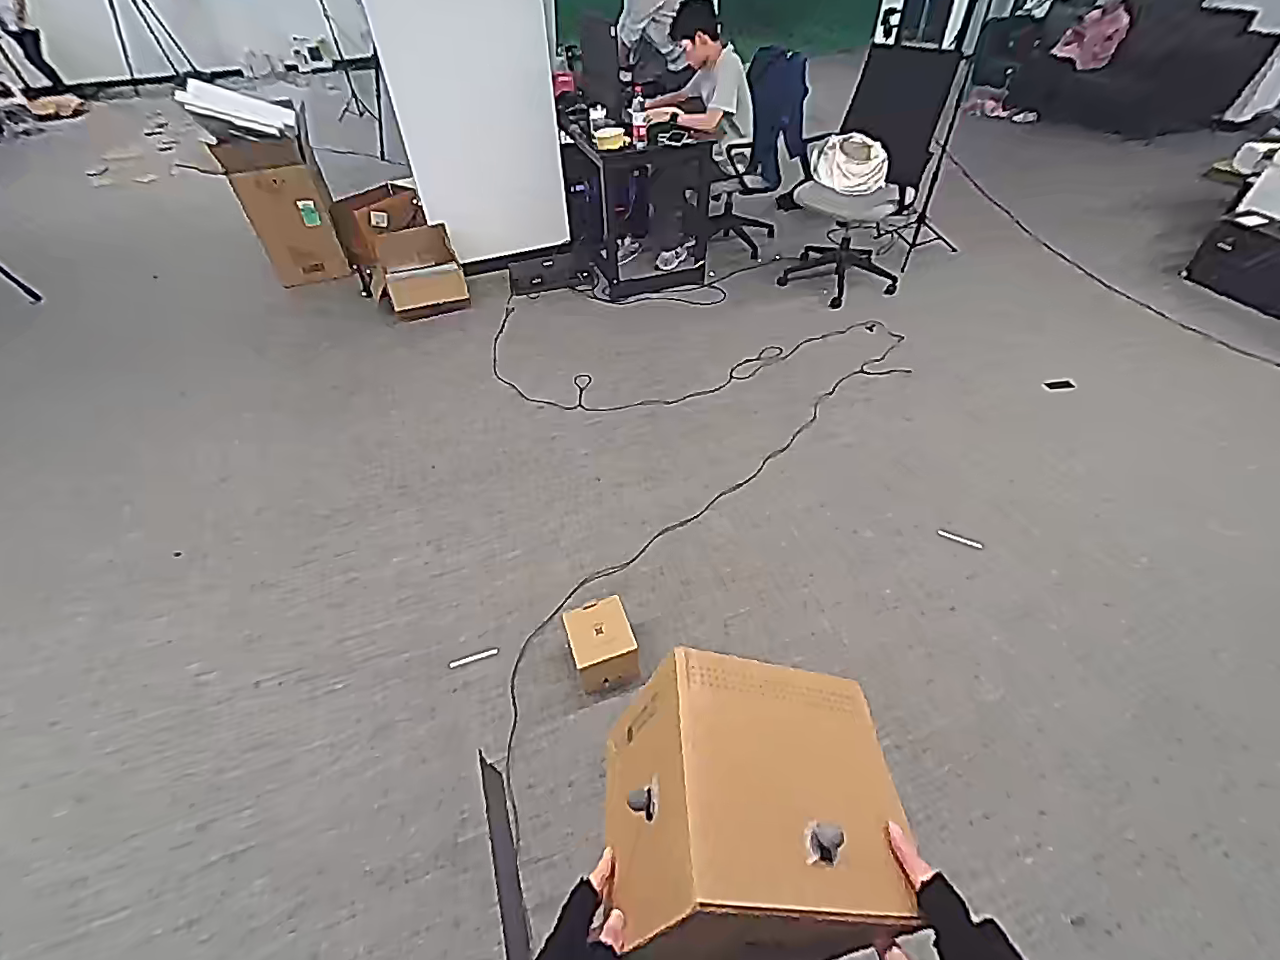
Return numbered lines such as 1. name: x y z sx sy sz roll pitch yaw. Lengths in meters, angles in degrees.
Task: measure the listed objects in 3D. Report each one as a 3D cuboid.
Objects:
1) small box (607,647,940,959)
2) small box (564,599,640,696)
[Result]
1. small box: 0.081 0.257 0.432 0.179 0.168 0.176 15 37 -15
2. small box: -0.105 0.466 1.501 0.168 0.176 0.179 -16 48 -11
